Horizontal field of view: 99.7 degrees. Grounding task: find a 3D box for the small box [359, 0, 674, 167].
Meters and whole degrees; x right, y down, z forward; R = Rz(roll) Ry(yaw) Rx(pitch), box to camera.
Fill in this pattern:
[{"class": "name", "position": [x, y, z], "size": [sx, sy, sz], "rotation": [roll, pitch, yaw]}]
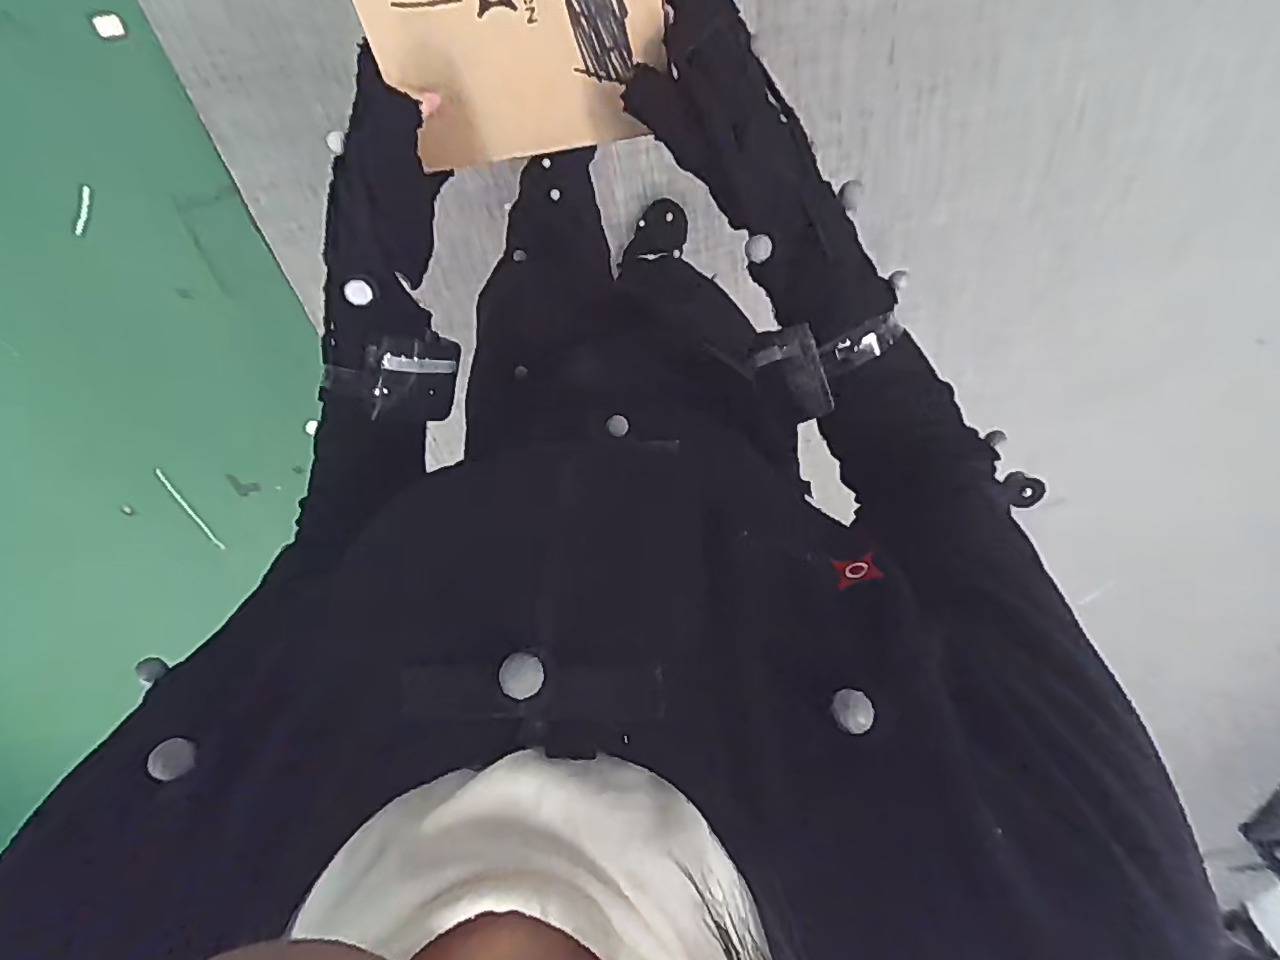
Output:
[{"class": "small box", "position": [-0.075, -0.339, 0.361], "size": [0.179, 0.176, 0.168], "rotation": [-5, 137, 7]}]
